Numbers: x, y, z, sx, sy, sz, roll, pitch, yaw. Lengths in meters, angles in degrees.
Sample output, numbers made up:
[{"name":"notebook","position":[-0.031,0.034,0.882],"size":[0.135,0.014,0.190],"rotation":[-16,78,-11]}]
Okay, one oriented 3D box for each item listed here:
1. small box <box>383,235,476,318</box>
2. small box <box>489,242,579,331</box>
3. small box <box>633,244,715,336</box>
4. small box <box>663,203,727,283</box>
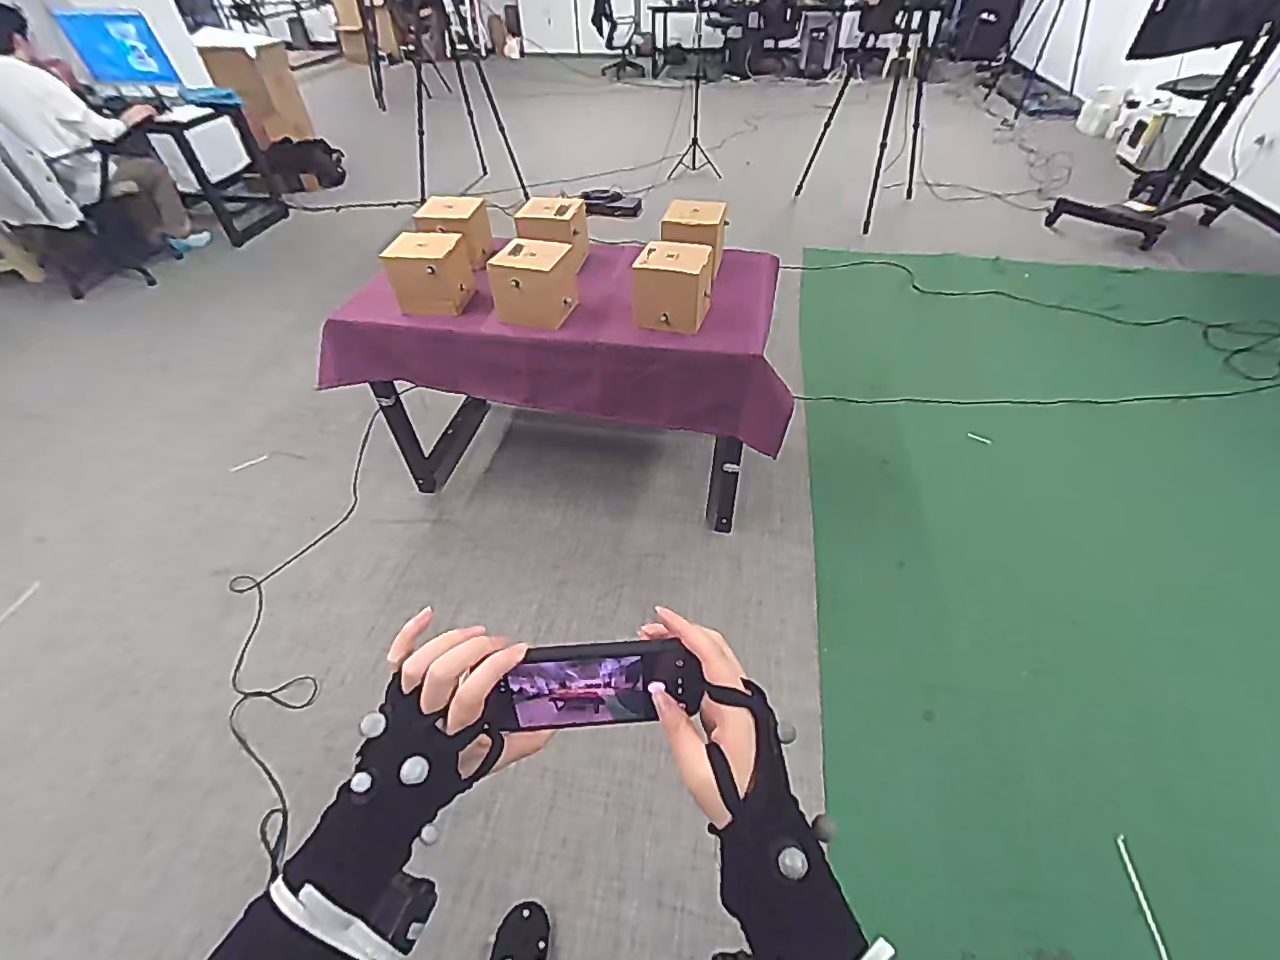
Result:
[{"name":"small box","position":[-0.584,-0.573,1.524],"size":[0.179,0.176,0.168],"rotation":[4,45,3]},{"name":"small box","position":[-0.279,-0.524,1.468],"size":[0.179,0.176,0.168],"rotation":[12,47,12]},{"name":"small box","position":[0.090,-0.502,1.437],"size":[0.179,0.176,0.168],"rotation":[13,47,13]},{"name":"small box","position":[0.166,-0.721,1.649],"size":[0.168,0.176,0.179],"rotation":[9,47,11]}]
